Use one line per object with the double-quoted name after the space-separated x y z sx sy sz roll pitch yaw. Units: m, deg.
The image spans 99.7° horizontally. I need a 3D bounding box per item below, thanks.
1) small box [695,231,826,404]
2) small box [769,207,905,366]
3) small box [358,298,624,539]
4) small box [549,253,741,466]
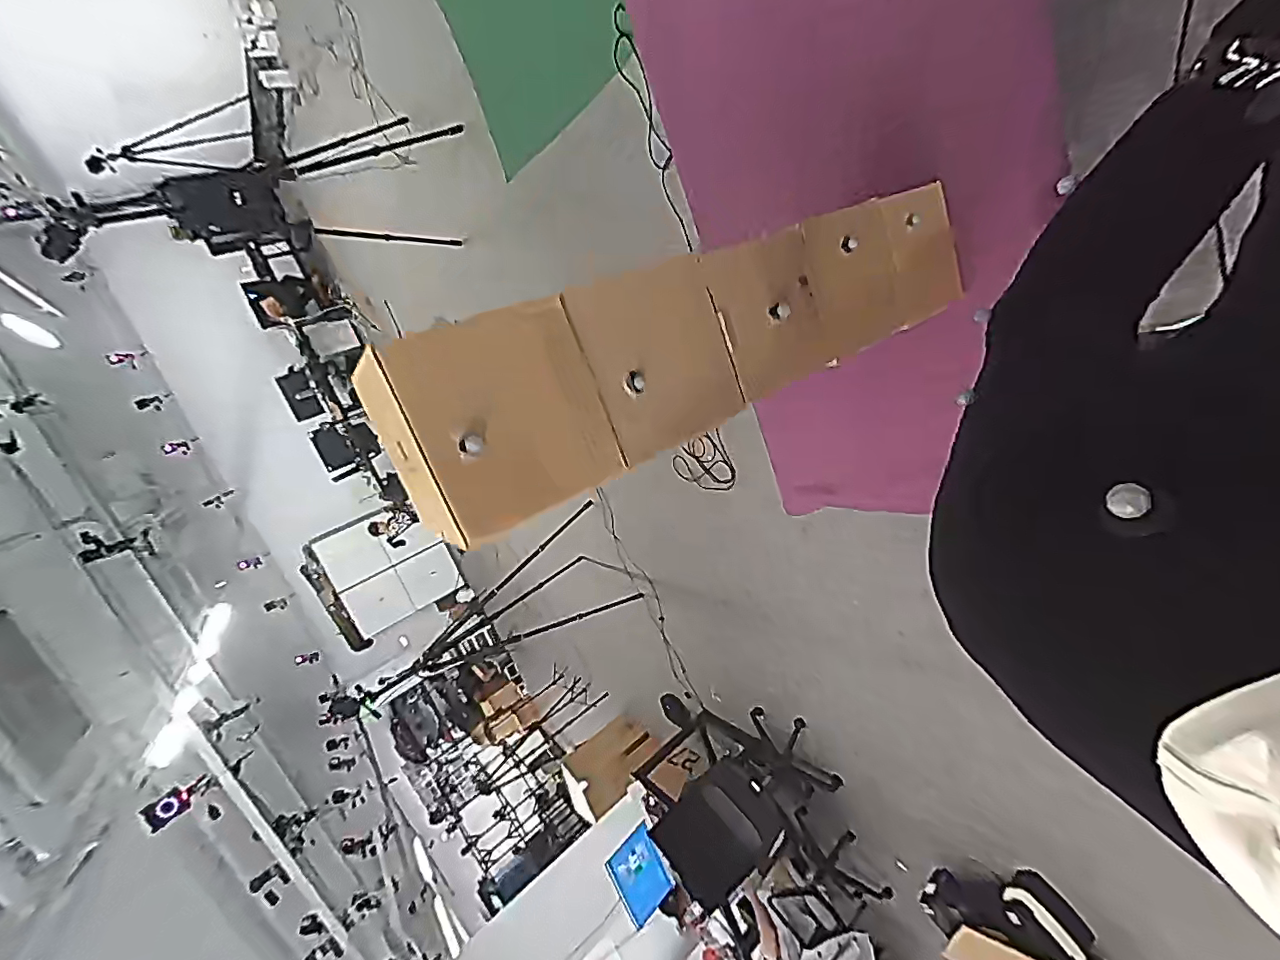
0.111 -0.194 0.686 0.179 0.176 0.168 0 114 58 "small box"
0.240 -0.262 0.759 0.168 0.176 0.179 3 117 58 "small box"
-0.143 -0.063 0.527 0.168 0.176 0.179 0 115 58 "small box"
-0.014 -0.127 0.603 0.168 0.176 0.179 0 114 58 "small box"
